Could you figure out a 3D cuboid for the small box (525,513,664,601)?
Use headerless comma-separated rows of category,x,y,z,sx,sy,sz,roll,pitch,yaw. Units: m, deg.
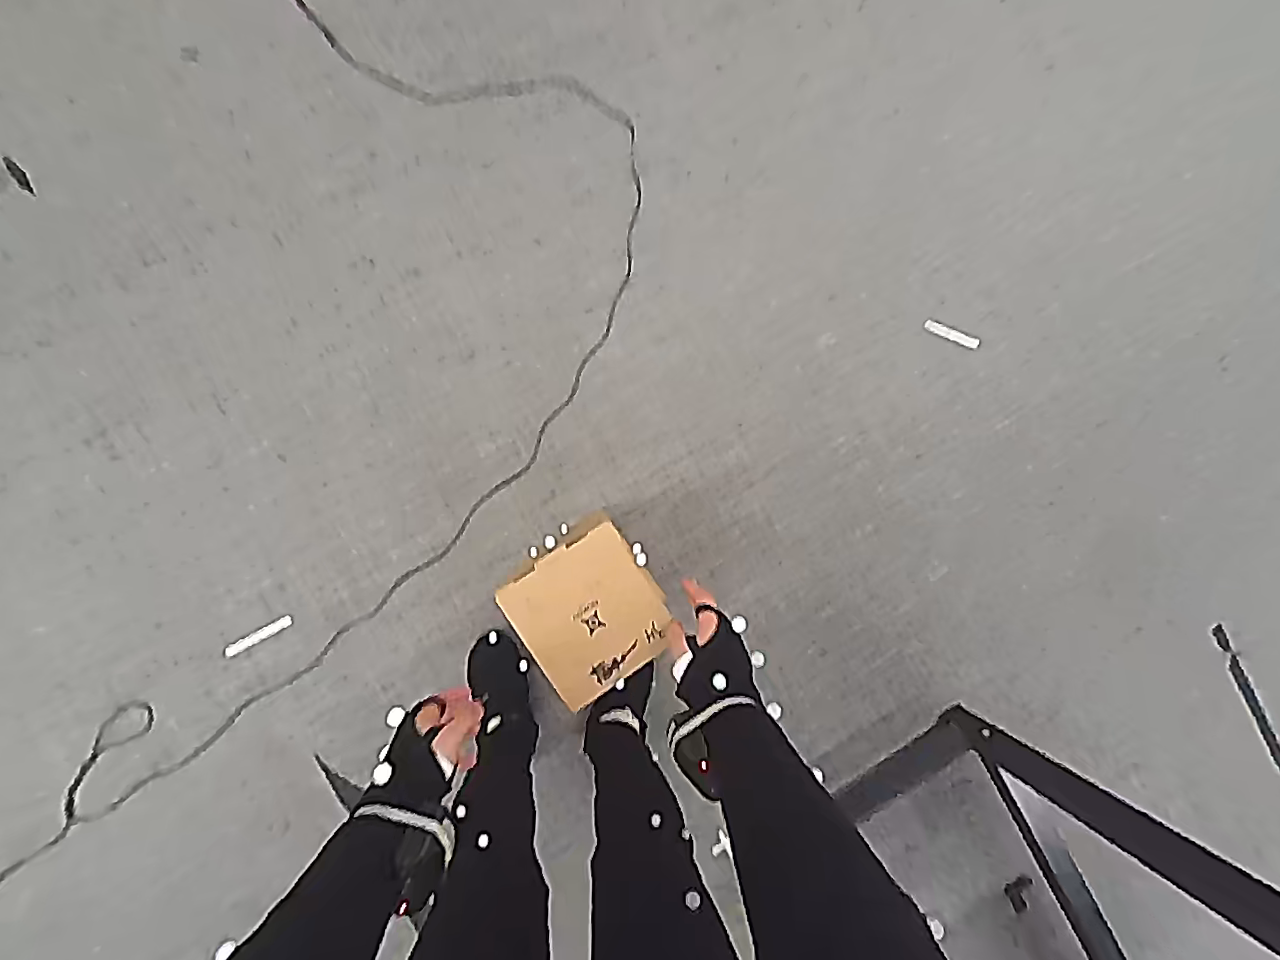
small box,-0.086,0.170,0.899,0.179,0.176,0.168,-37,93,-7

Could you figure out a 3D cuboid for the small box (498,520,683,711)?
small box,-0.068,0.168,0.735,0.168,0.176,0.179,-33,92,-6
